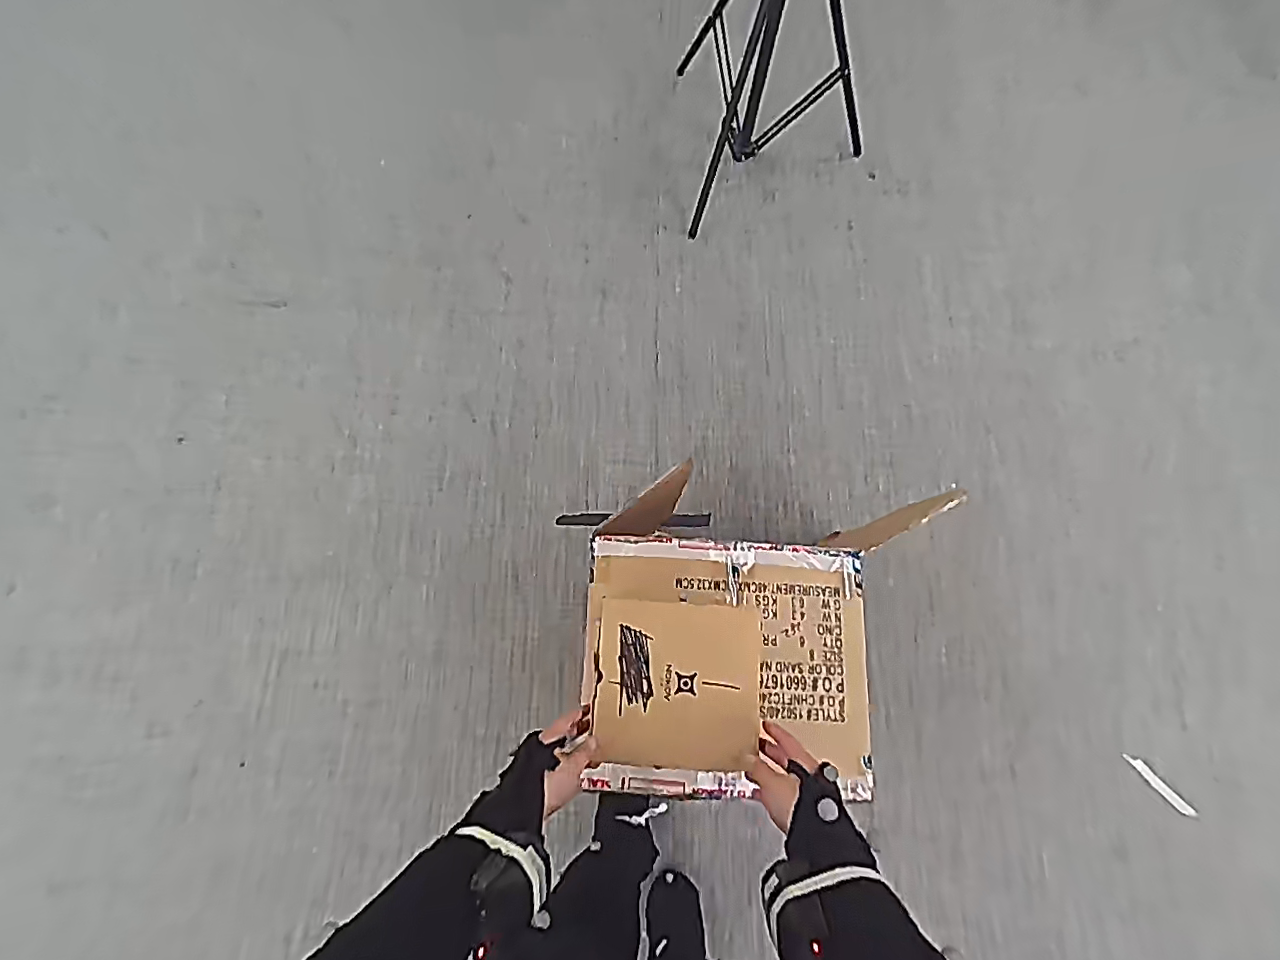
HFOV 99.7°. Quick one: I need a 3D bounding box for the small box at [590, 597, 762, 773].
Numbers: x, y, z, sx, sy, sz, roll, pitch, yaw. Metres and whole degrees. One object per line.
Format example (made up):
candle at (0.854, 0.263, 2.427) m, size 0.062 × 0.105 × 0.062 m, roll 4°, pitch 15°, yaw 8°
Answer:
small box at (0.040, 0.233, 0.648) m, size 0.179 × 0.176 × 0.168 m, roll 4°, pitch 76°, yaw -1°
